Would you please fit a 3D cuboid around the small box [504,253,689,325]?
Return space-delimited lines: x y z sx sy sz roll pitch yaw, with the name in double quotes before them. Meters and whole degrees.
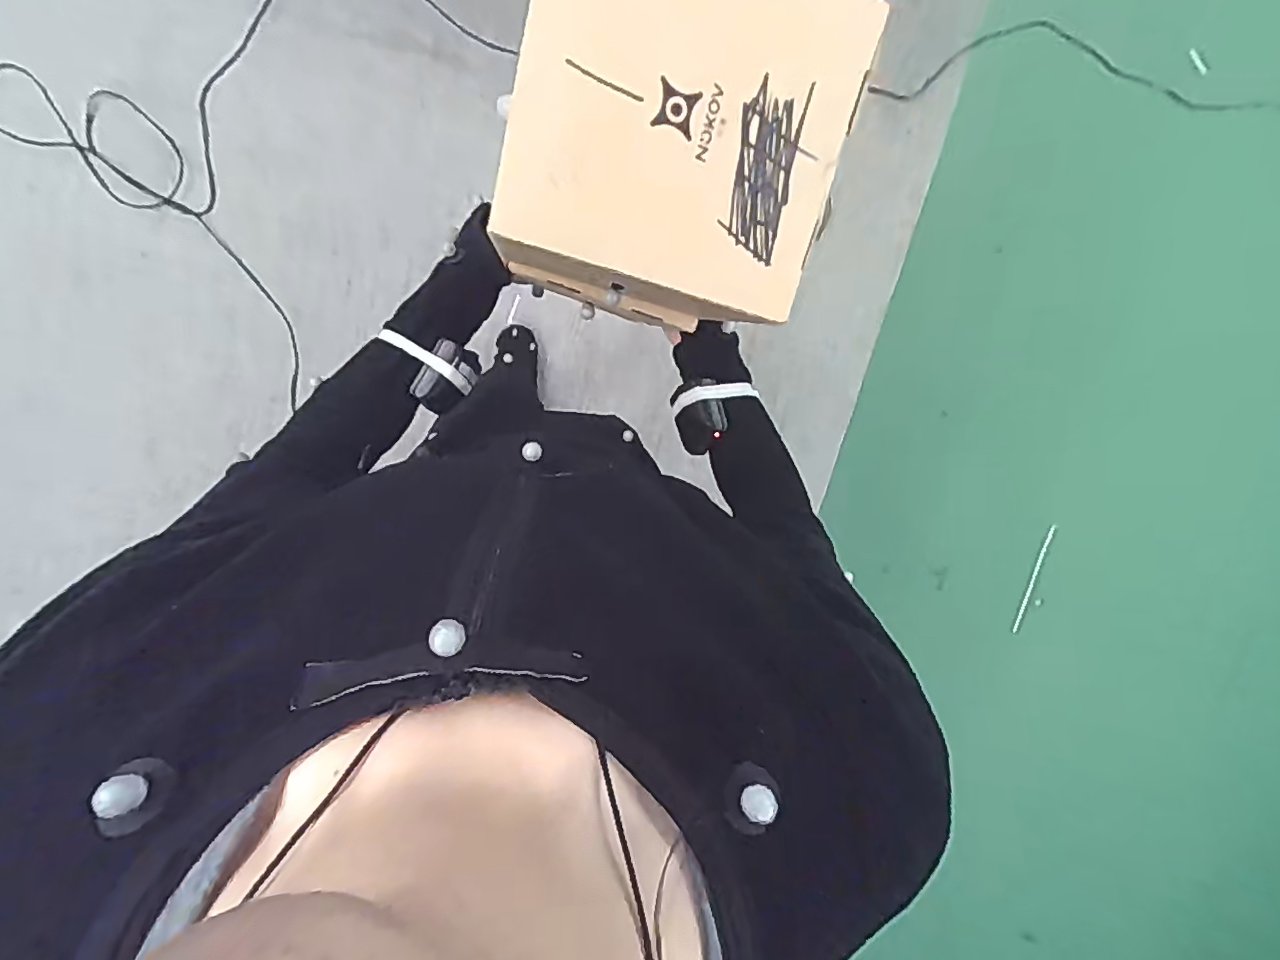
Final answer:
"small box" -0.026 -0.259 0.506 0.168 0.176 0.179 15 104 -16

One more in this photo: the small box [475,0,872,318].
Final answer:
"small box" 0.003 -0.213 0.351 0.179 0.176 0.168 12 104 -15
